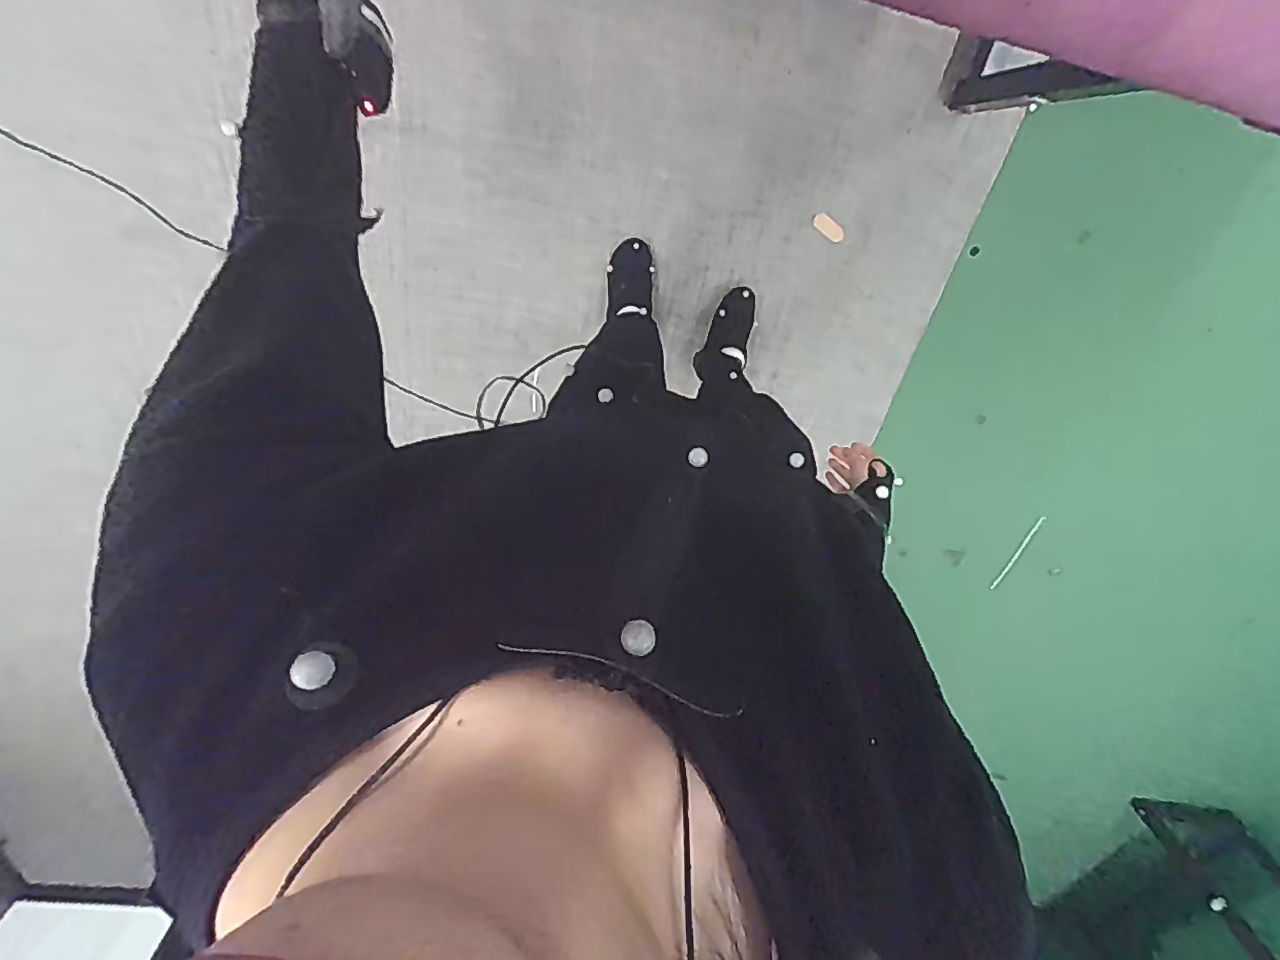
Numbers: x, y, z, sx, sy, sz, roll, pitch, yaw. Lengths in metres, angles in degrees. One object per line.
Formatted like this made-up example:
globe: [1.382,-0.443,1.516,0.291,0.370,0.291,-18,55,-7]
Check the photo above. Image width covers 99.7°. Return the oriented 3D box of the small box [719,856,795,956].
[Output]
small box: [0.314,1.168,1.490,0.168,0.176,0.179,0,118,-1]

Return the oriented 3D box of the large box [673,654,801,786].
large box: [0.338,0.872,1.981,0.408,0.320,0.320,-4,121,0]

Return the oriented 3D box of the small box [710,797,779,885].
small box: [0.307,1.084,1.631,0.168,0.176,0.179,1,119,-2]
